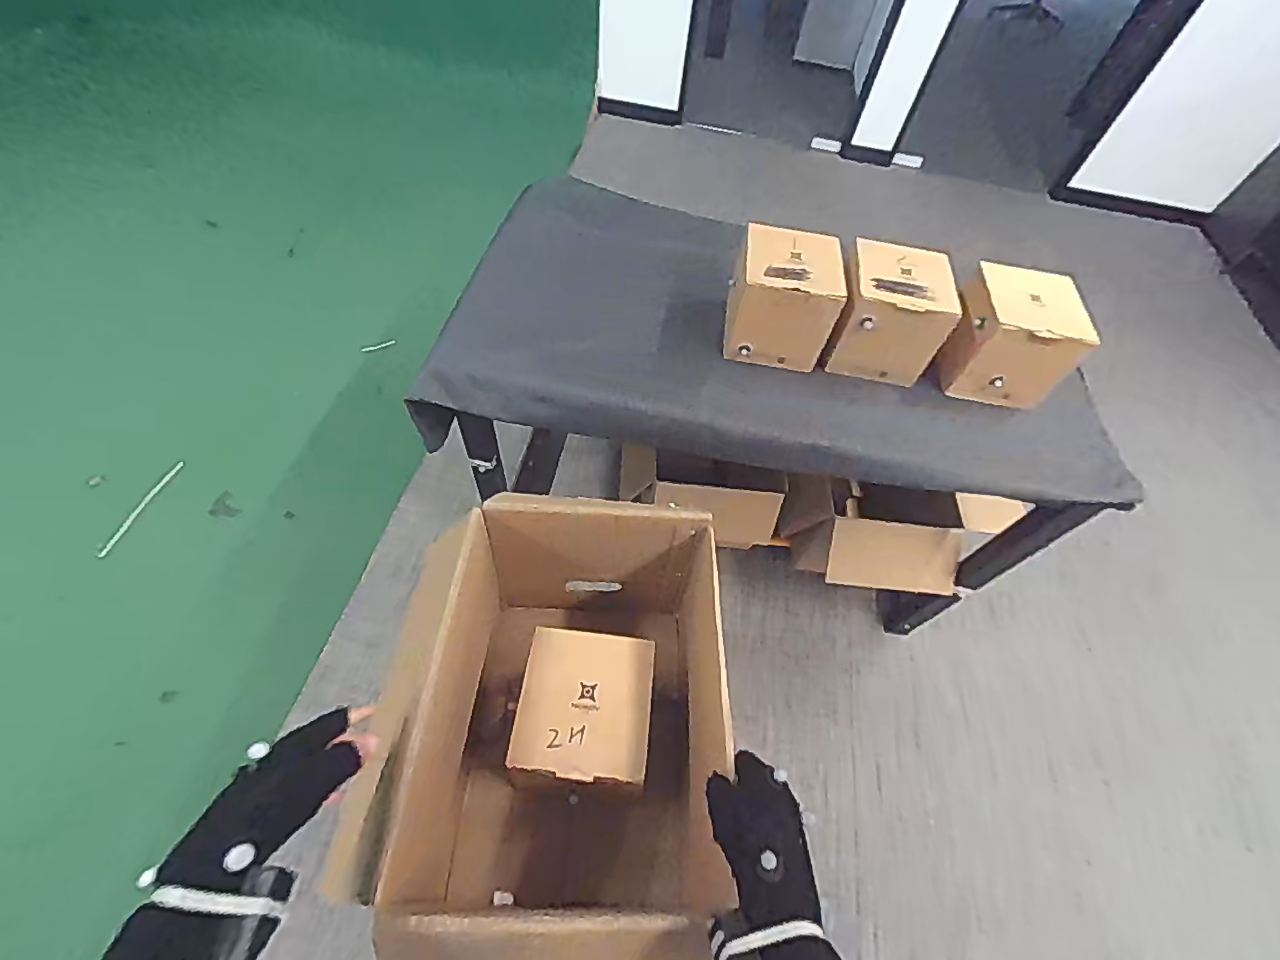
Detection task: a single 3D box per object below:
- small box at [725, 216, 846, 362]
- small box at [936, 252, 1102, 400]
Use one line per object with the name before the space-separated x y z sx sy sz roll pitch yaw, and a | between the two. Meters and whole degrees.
small box | 0.253 -0.336 0.969 0.168 0.176 0.179 9 56 0
small box | 0.660 -0.273 0.972 0.168 0.176 0.179 10 57 1
